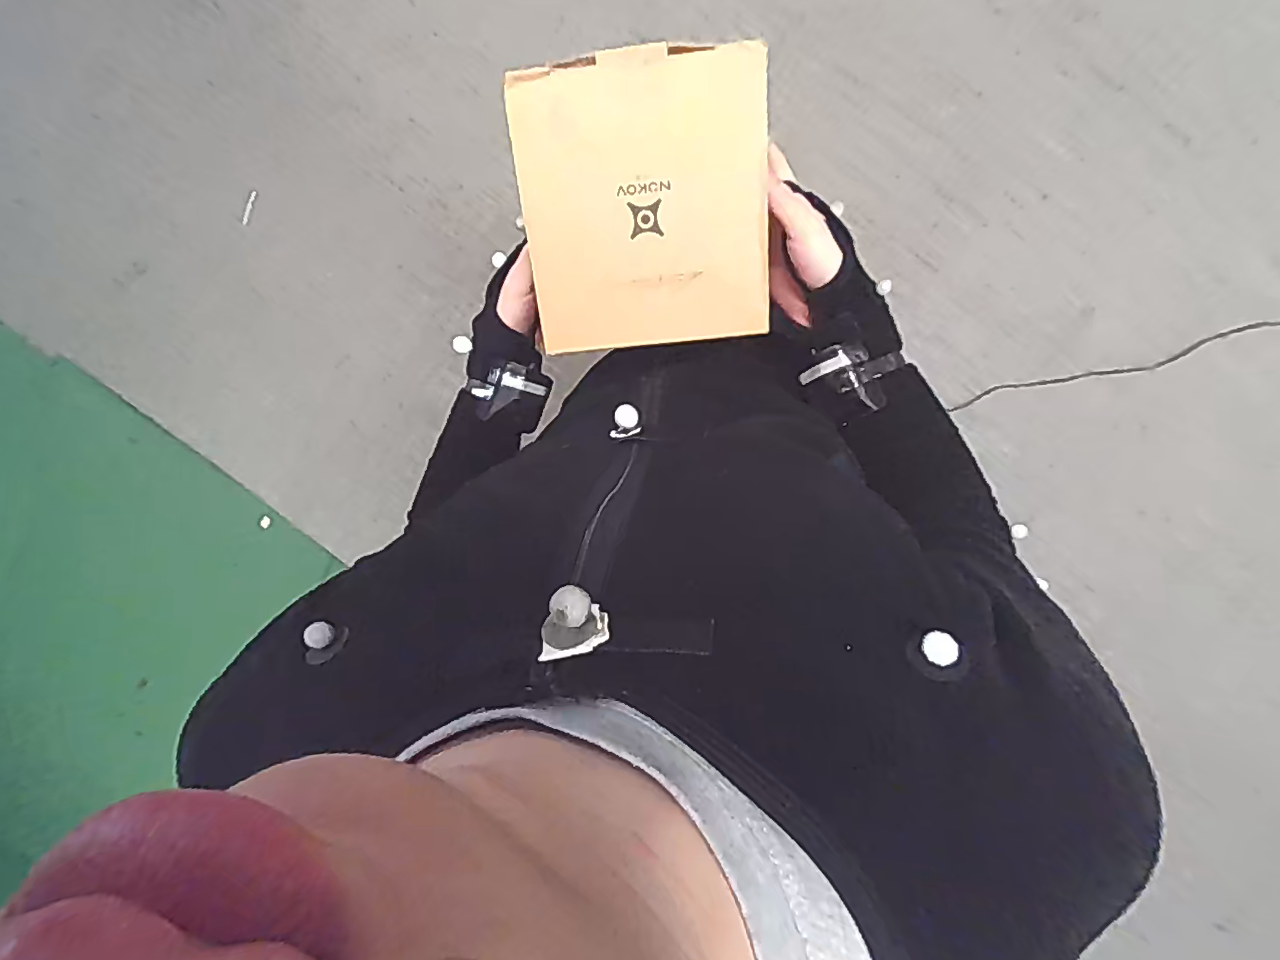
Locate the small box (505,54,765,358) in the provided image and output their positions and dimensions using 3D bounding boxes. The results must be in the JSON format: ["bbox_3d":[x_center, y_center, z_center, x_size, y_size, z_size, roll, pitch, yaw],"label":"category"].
[{"bbox_3d":[0.003,-0.208,0.440,0.168,0.176,0.179,-4,114,3],"label":"small box"}]
